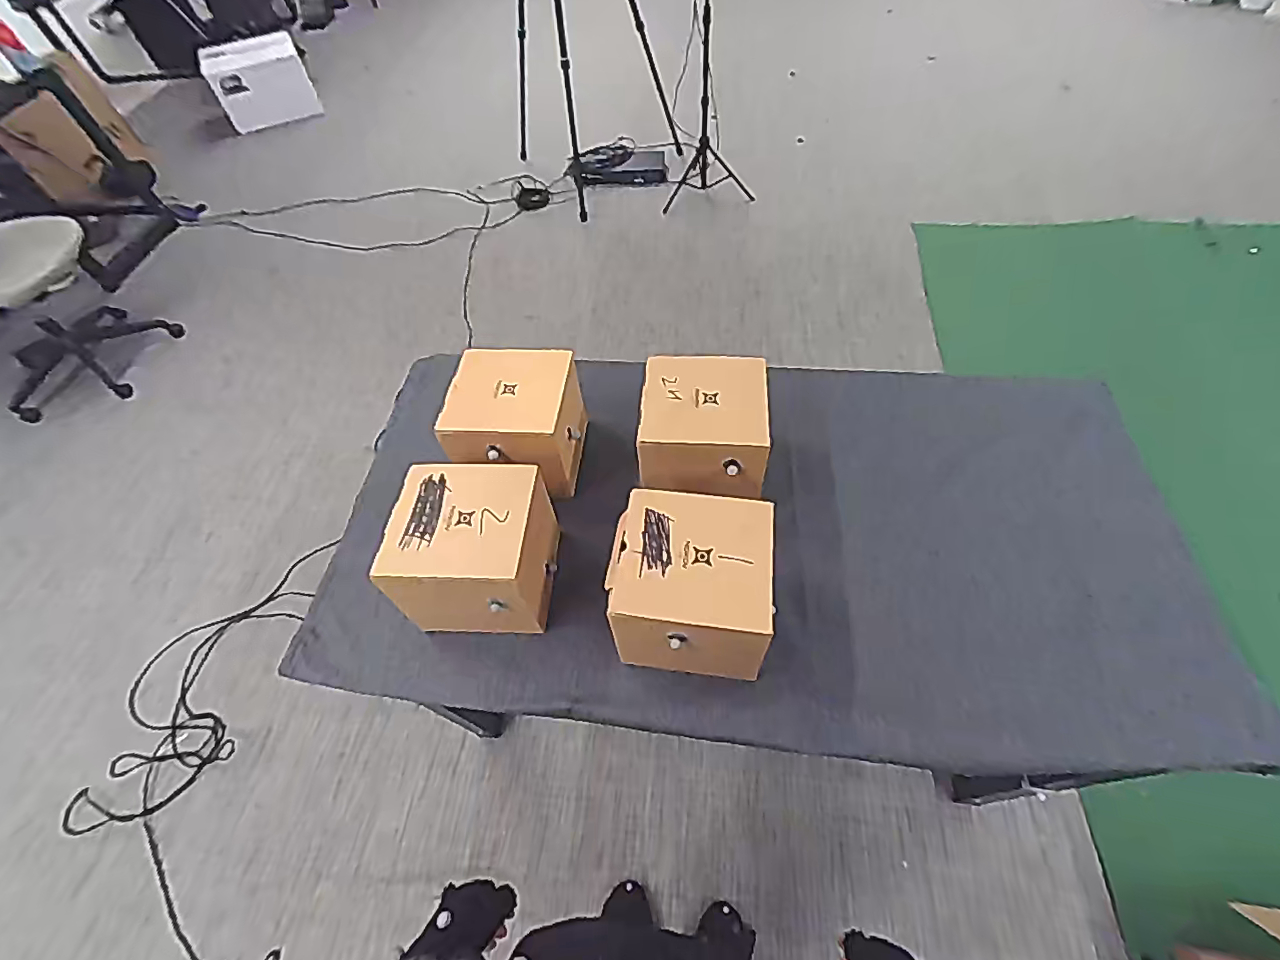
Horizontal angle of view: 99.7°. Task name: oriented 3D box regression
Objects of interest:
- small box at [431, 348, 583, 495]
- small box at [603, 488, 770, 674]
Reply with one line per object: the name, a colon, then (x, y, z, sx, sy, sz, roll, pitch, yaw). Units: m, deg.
small box: (-0.194, -0.088, 0.852, 0.179, 0.176, 0.168, 1, 56, 7)
small box: (0.063, 0.129, 0.674, 0.179, 0.176, 0.168, 5, 55, 8)
